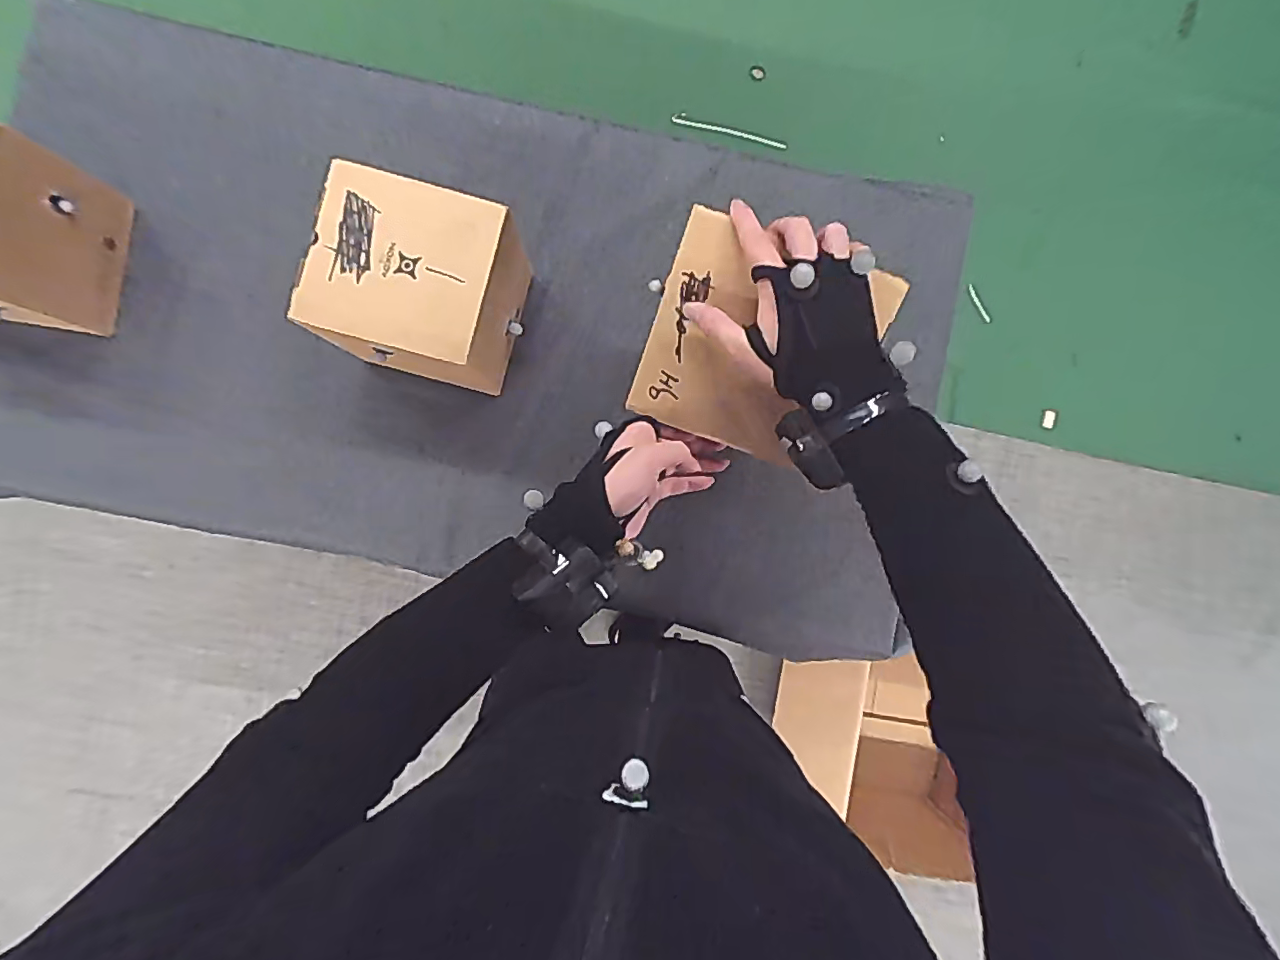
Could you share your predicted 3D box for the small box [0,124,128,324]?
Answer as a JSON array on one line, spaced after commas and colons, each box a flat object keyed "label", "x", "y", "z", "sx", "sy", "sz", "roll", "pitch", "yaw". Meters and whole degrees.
[{"label": "small box", "x": -0.705, "y": -0.276, "z": 0.569, "sx": 0.179, "sy": 0.176, "sz": 0.168, "roll": 8, "pitch": 88, "yaw": -2}]

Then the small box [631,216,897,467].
[{"label": "small box", "x": 0.104, "y": -0.132, "z": 0.522, "sx": 0.179, "sy": 0.176, "sz": 0.168, "roll": 17, "pitch": 107, "yaw": 0}]

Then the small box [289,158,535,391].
[{"label": "small box", "x": -0.235, "y": -0.210, "z": 0.604, "sx": 0.179, "sy": 0.176, "sz": 0.168, "roll": 18, "pitch": 90, "yaw": -2}]
